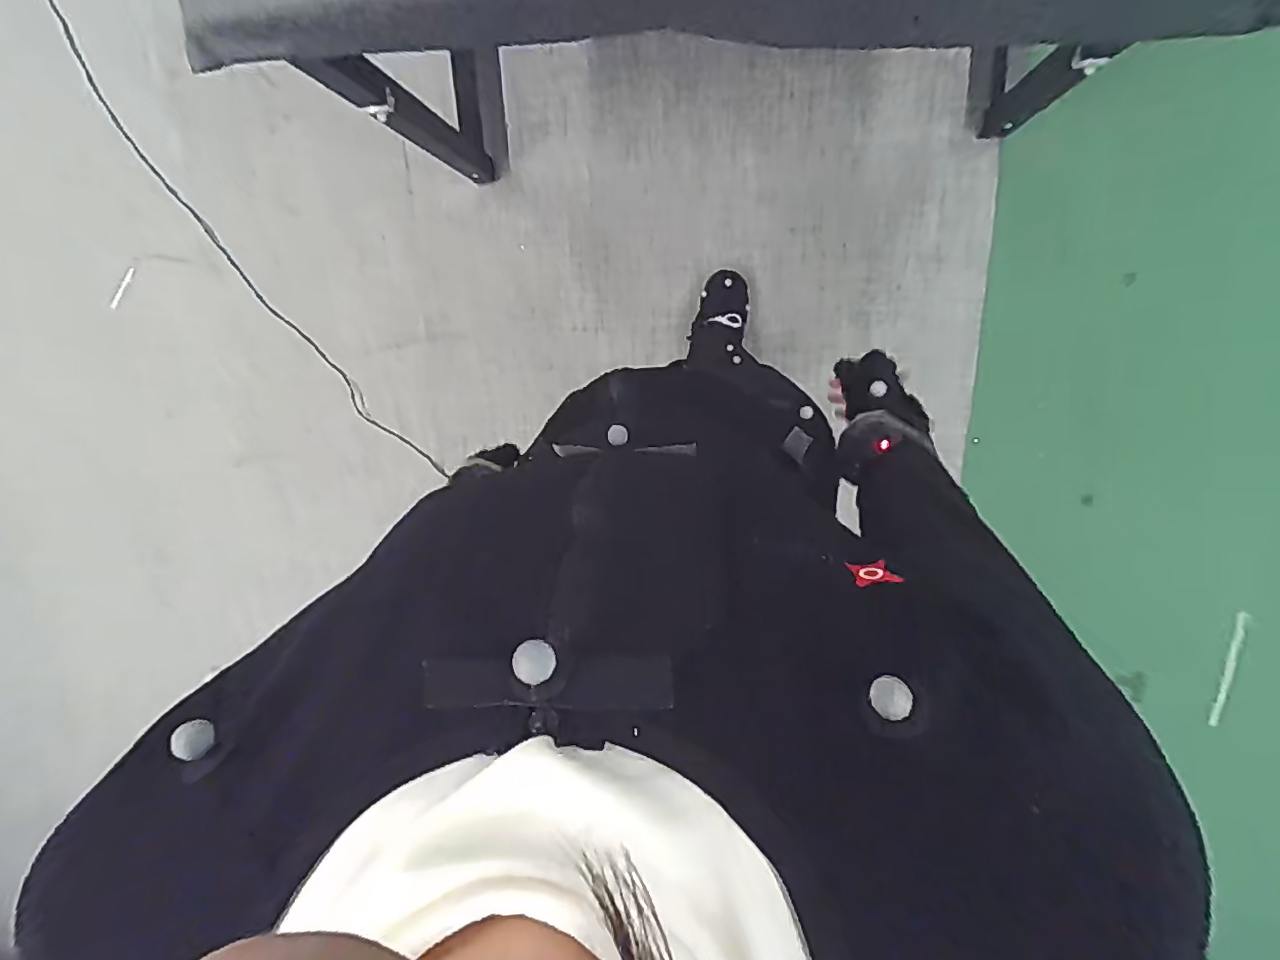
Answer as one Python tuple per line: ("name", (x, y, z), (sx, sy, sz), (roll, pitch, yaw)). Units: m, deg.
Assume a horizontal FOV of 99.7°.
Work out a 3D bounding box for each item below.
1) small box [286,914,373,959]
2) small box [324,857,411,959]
("small box", (-0.768, 1.196, 1.286), (0.168, 0.176, 0.179), (24, 104, 1))
("small box", (-0.749, 1.173, 1.448), (0.168, 0.176, 0.179), (32, 104, -1))
